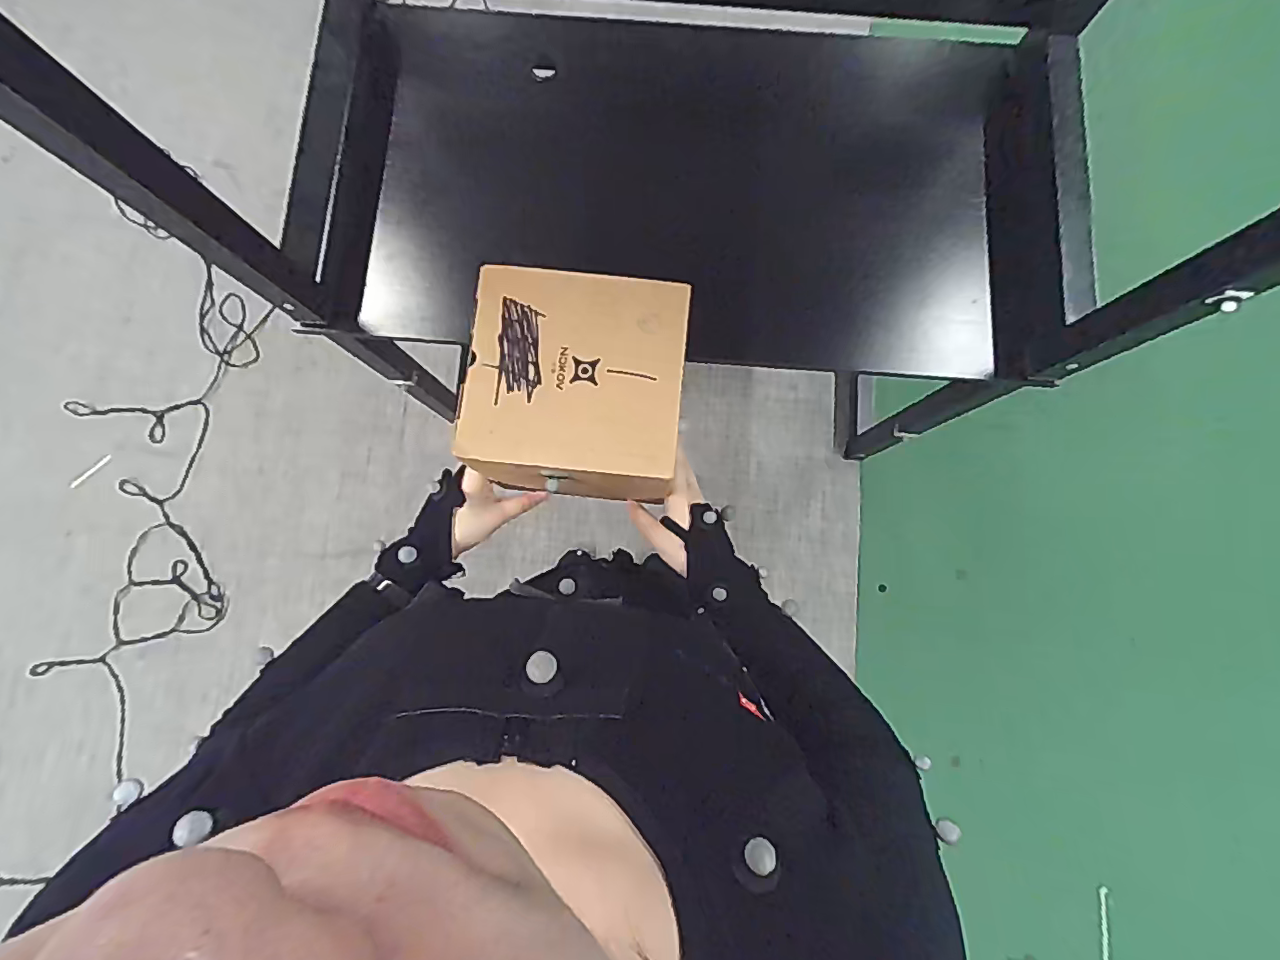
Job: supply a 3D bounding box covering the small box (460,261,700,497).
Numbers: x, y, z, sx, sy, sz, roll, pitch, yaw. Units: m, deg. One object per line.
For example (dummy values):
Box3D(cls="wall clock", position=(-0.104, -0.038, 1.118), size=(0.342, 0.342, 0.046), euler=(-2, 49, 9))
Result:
Box3D(cls="small box", position=(-0.047, -0.080, 0.510), size=(0.179, 0.176, 0.168), euler=(6, 82, -1))
